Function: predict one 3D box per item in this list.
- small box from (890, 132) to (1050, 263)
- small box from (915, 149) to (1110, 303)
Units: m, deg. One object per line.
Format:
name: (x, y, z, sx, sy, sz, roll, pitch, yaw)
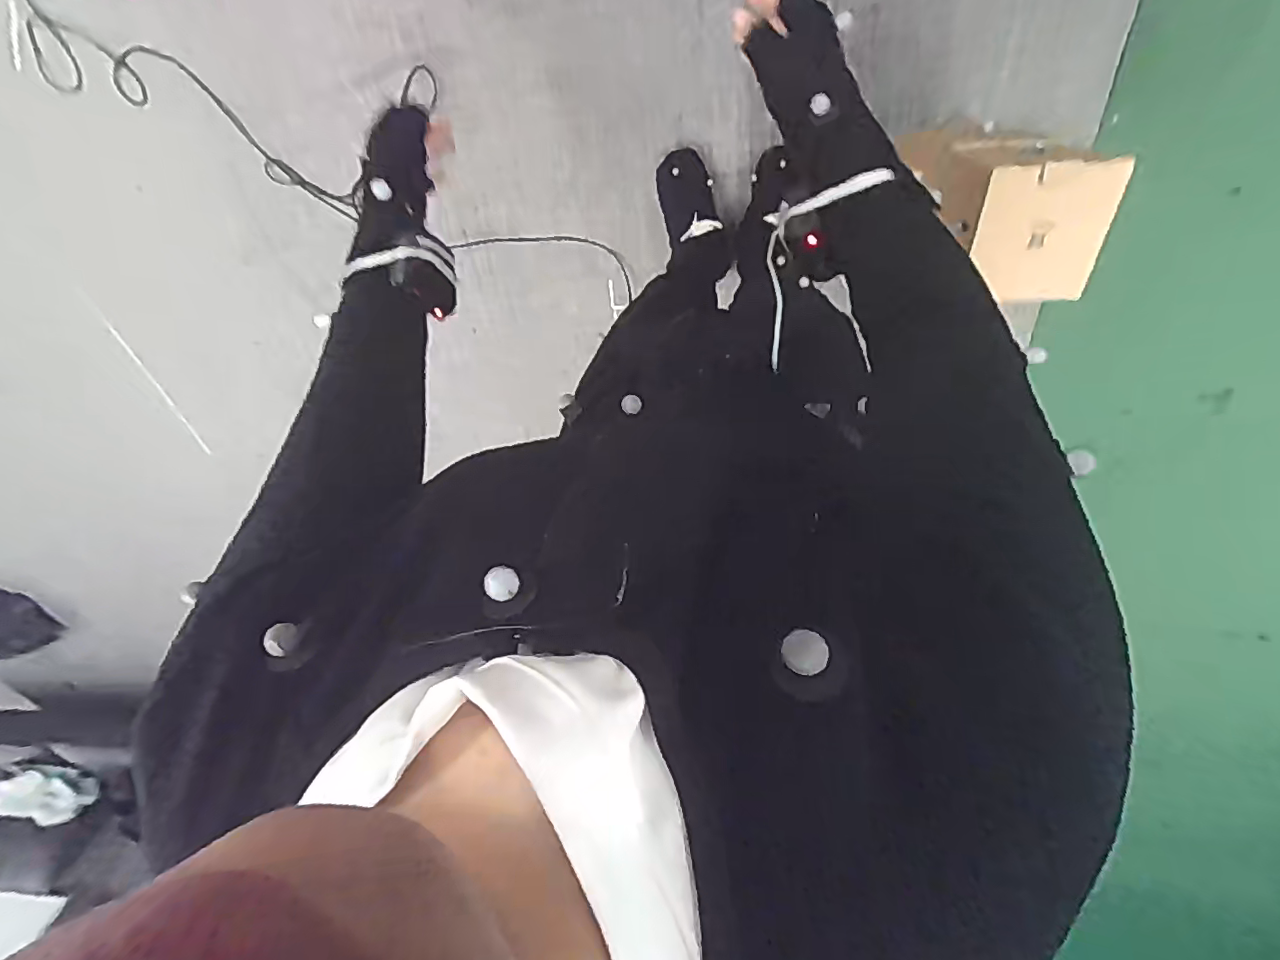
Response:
small box: (0.548, -0.487, 0.932, 0.168, 0.176, 0.179, 2, 127, 7)
small box: (0.533, -0.382, 0.810, 0.168, 0.176, 0.179, 1, 127, 7)
